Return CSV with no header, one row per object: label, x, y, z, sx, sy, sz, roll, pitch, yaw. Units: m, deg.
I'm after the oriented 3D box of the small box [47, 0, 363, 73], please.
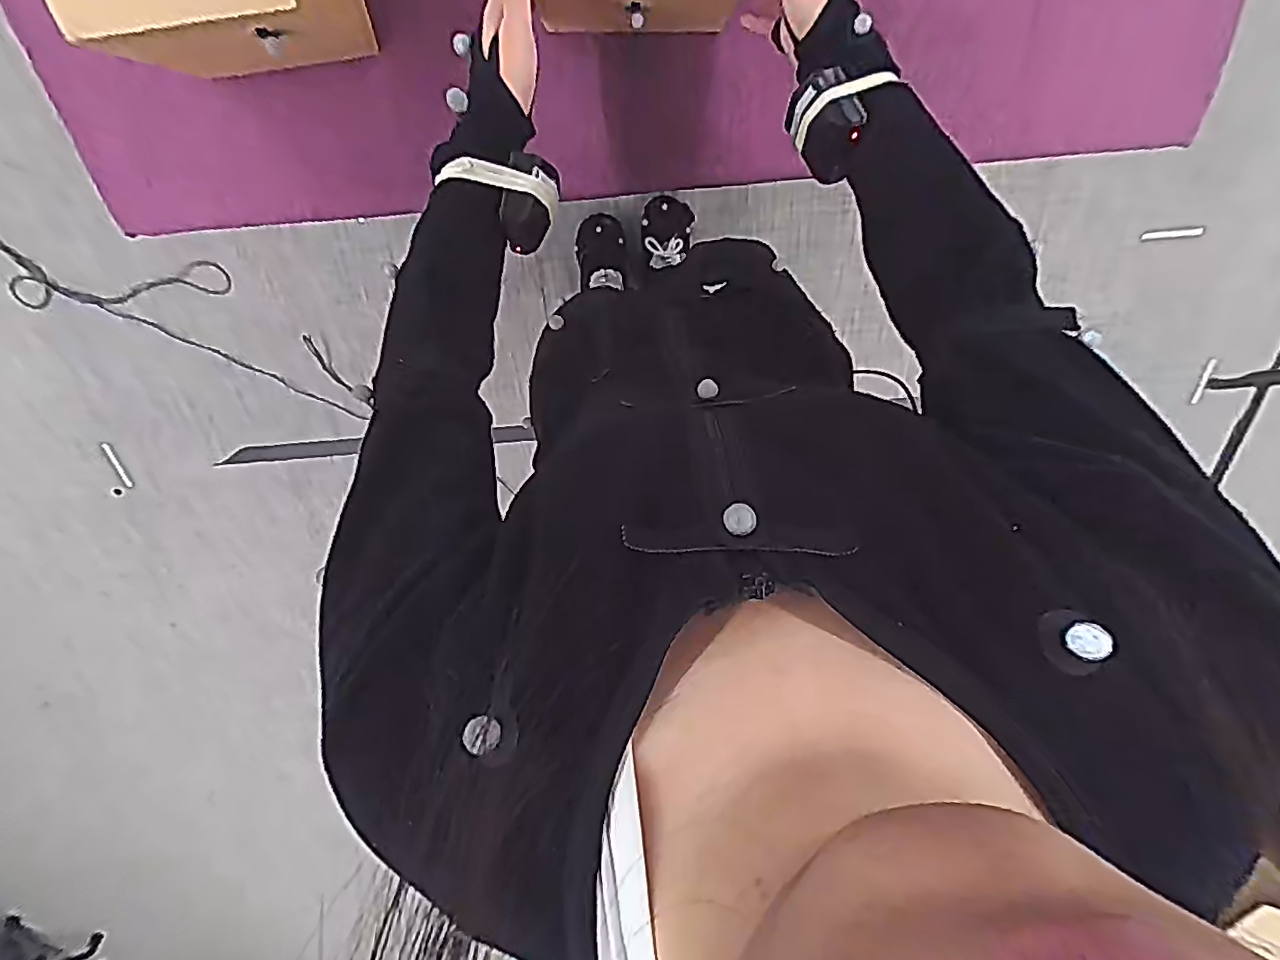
small box,-0.346,-0.441,0.422,0.179,0.176,0.168,-8,118,1
